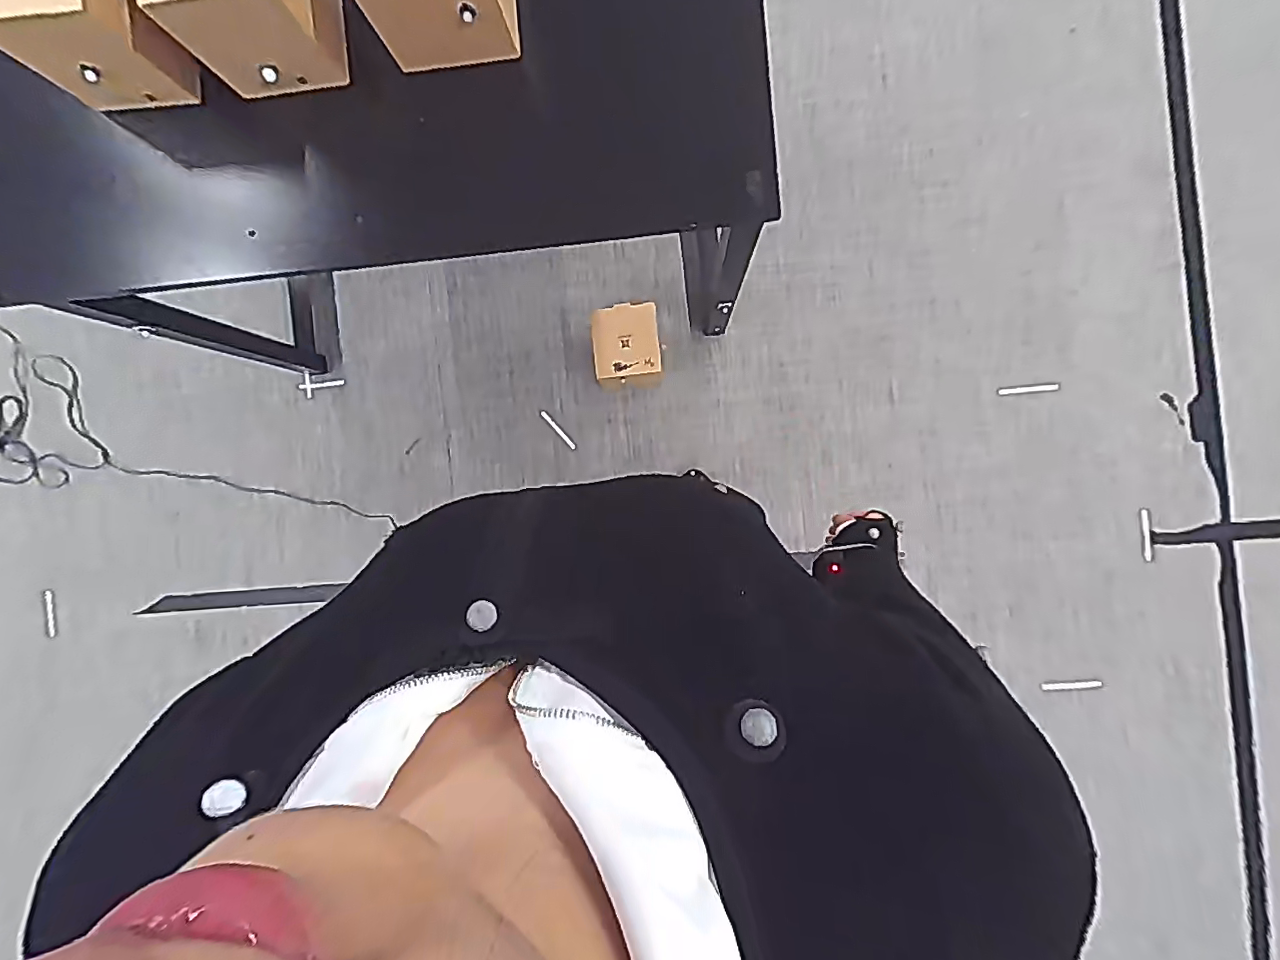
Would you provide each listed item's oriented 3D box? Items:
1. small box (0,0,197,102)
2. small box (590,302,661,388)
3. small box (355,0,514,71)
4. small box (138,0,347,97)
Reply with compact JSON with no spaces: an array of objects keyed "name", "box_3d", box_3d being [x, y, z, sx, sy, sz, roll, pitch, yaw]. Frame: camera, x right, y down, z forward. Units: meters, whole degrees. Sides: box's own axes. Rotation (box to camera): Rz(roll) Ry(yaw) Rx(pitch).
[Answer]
[{"name":"small box","box_3d":[-0.741,-0.643,0.726,0.168,0.176,0.179,-2,91,2]},{"name":"small box","box_3d":[-0.034,-0.347,1.419,0.168,0.176,0.179,-6,90,4]},{"name":"small box","box_3d":[-0.270,-0.678,0.700,0.179,0.176,0.168,-5,89,4]},{"name":"small box","box_3d":[-0.518,-0.655,0.712,0.168,0.176,0.179,-6,92,3]}]
